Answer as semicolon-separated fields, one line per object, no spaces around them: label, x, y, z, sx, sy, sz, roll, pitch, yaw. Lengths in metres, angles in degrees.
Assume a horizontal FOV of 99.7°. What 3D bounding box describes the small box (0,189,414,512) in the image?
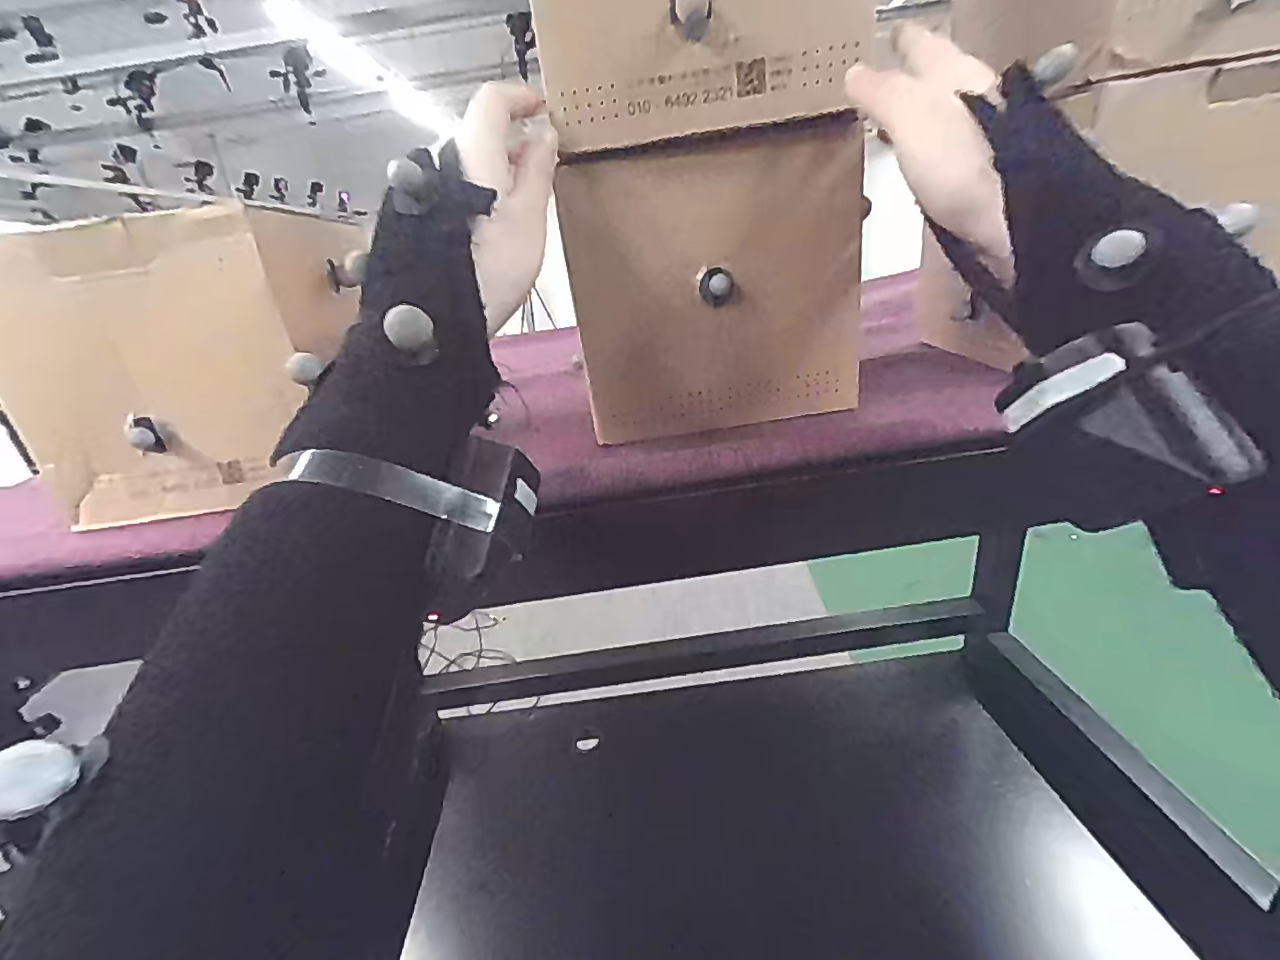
small box;-0.278;-0.093;0.383;0.168;0.176;0.179;-9;22;-3

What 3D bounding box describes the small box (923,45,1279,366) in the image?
small box;0.331;-0.186;0.393;0.168;0.176;0.179;-8;24;2

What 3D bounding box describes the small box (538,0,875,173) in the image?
small box;0.029;-0.292;0.321;0.168;0.176;0.179;-7;24;4

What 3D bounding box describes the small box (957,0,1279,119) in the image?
small box;0.319;-0.334;0.326;0.168;0.176;0.179;-8;25;4
